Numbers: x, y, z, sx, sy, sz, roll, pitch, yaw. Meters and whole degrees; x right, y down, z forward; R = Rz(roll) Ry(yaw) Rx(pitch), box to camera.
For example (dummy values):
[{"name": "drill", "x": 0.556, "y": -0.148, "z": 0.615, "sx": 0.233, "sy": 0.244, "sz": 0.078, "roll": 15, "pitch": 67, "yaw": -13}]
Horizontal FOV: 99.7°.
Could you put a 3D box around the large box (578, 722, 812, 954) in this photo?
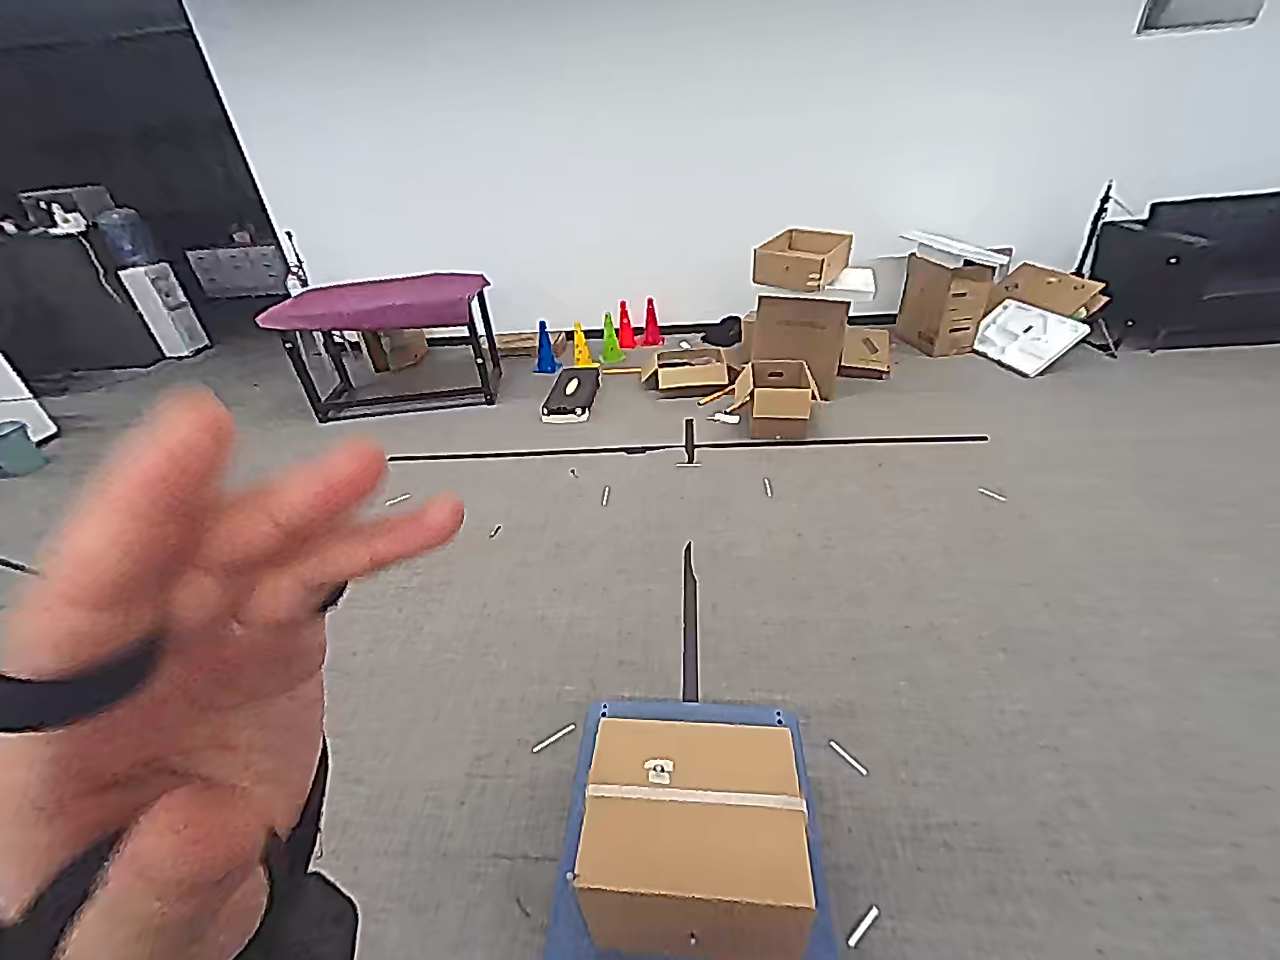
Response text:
[{"name": "large box", "x": 0.115, "y": 0.732, "z": 1.121, "sx": 0.408, "sy": 0.320, "sz": 0.320, "roll": -1, "pitch": 33, "yaw": 7}]
